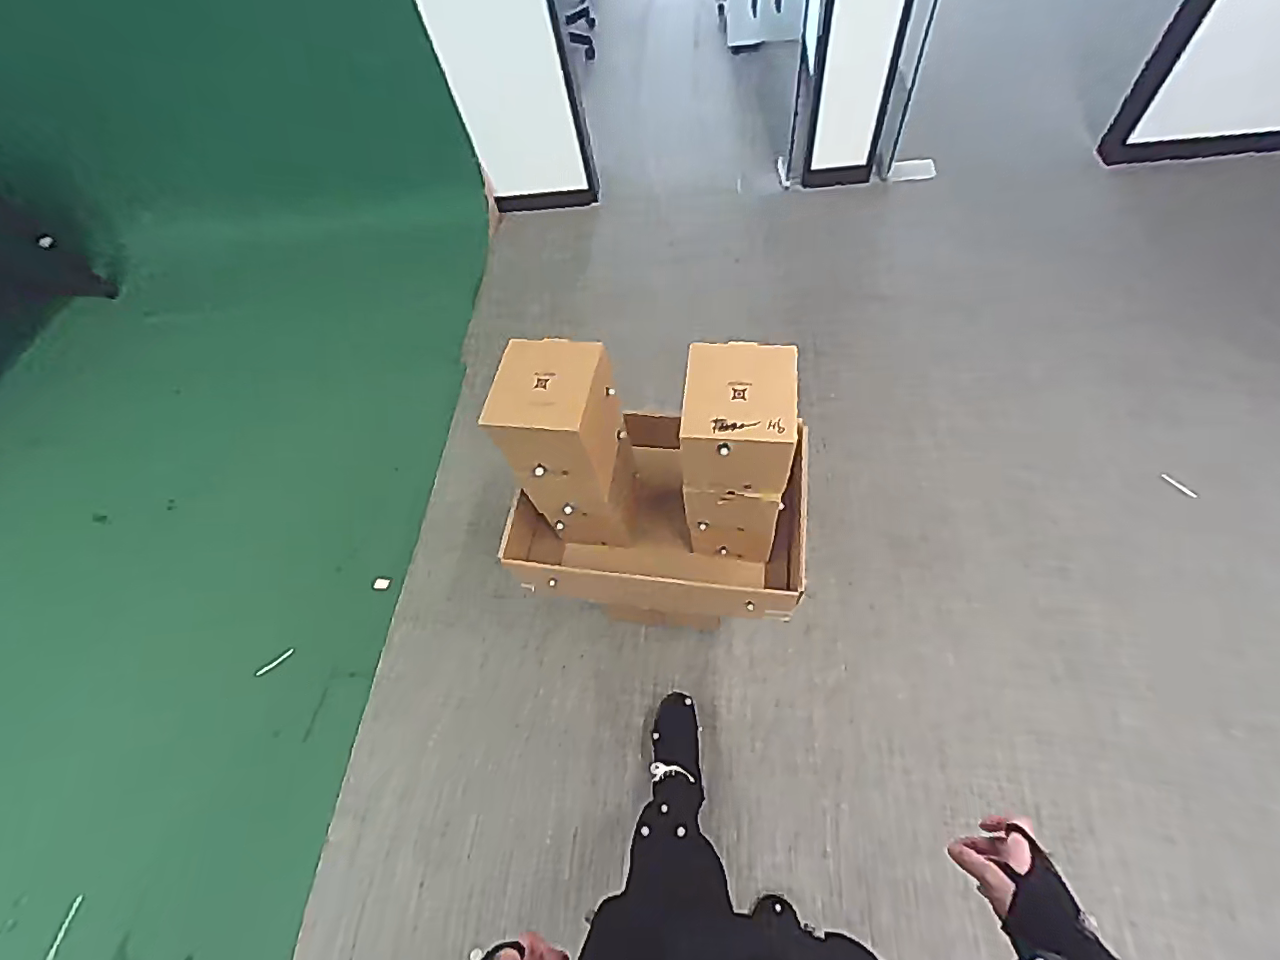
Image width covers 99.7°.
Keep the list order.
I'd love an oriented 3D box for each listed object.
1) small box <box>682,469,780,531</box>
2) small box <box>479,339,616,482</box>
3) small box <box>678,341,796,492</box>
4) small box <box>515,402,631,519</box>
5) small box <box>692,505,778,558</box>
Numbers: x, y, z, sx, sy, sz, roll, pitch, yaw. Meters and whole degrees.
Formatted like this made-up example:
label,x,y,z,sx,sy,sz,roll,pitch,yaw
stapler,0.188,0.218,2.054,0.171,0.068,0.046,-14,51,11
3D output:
label,x,y,z,sx,sy,sz,roll,pitch,yaw
small box,0.177,-0.019,1.005,0.168,0.176,0.179,6,64,12
small box,-0.144,-0.117,0.921,0.168,0.176,0.179,5,63,13
small box,0.155,-0.099,0.864,0.168,0.176,0.179,3,63,10
small box,-0.121,-0.042,1.064,0.168,0.176,0.179,5,63,13
small box,0.204,0.051,1.151,0.168,0.176,0.179,4,64,11
